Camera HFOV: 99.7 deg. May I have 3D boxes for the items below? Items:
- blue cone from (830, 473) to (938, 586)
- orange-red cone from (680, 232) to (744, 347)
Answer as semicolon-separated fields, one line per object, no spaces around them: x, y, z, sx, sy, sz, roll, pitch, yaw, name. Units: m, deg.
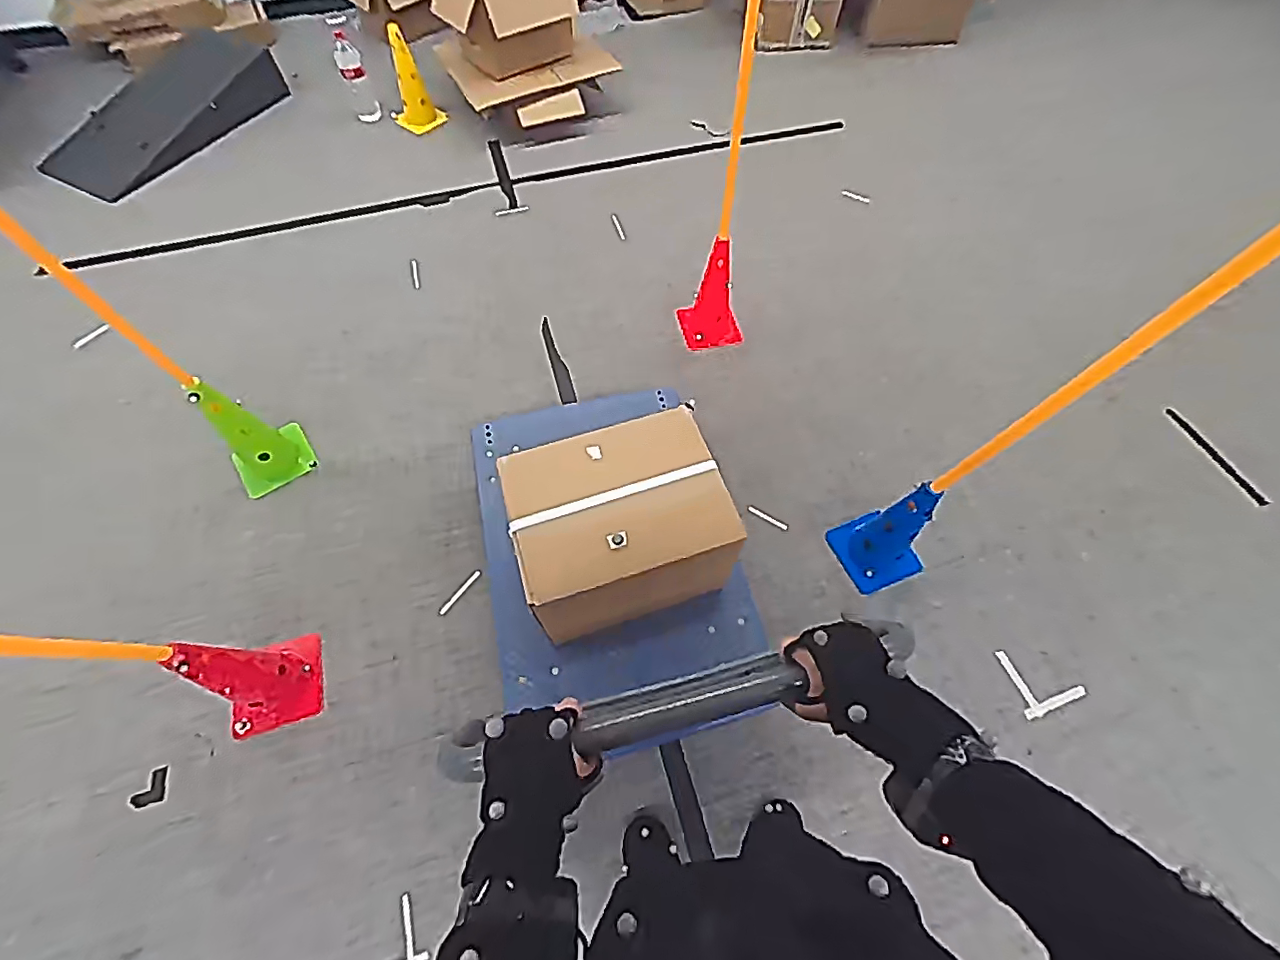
0.640;0.102;1.338;0.193;0.380;0.192;-18;61;-11;blue cone
0.252;-0.624;1.726;0.199;0.360;0.198;-9;62;-6;orange-red cone
